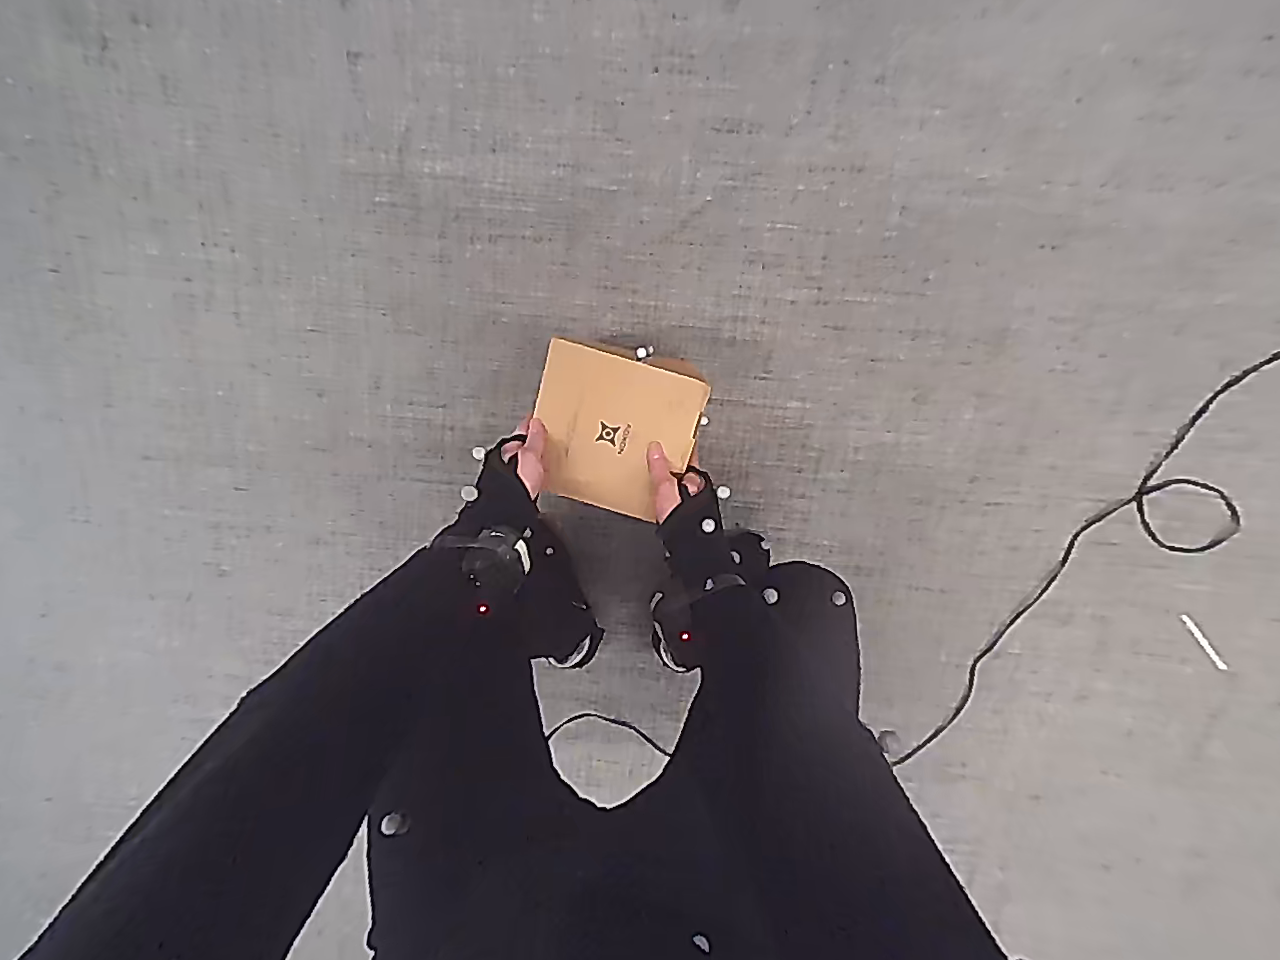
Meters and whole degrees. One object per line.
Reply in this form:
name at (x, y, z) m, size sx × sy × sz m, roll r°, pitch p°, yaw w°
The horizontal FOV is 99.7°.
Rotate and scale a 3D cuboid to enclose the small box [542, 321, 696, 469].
small box at (-0.021, -0.130, 0.816) m, size 0.179 × 0.176 × 0.168 m, roll -16°, pitch 102°, yaw 11°
